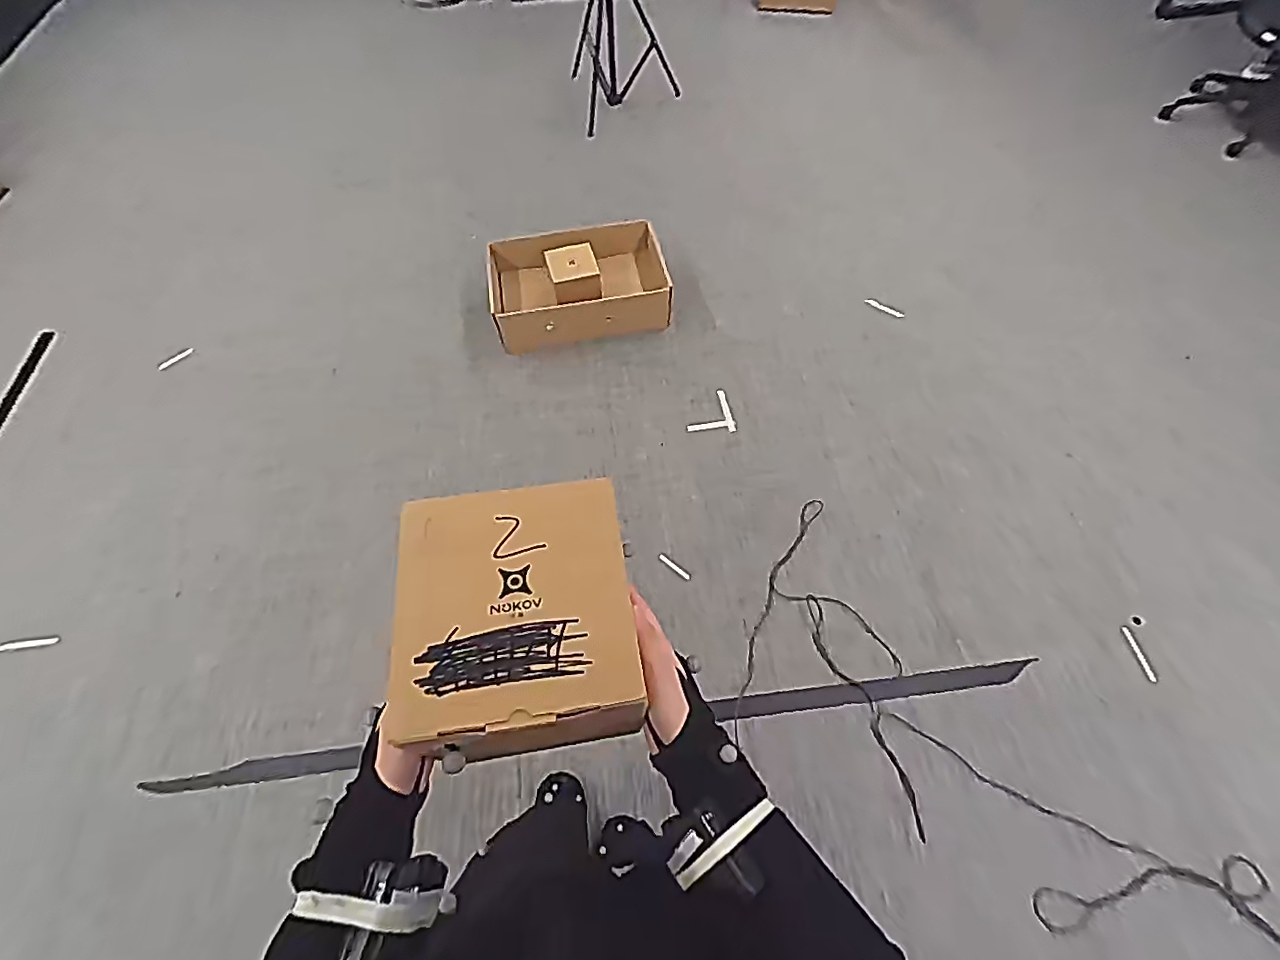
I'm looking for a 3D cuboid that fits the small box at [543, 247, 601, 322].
[{"bbox_3d":[-0.244,-0.703,1.954,0.168,0.176,0.179,-16,61,-7],"label":"small box"}]
